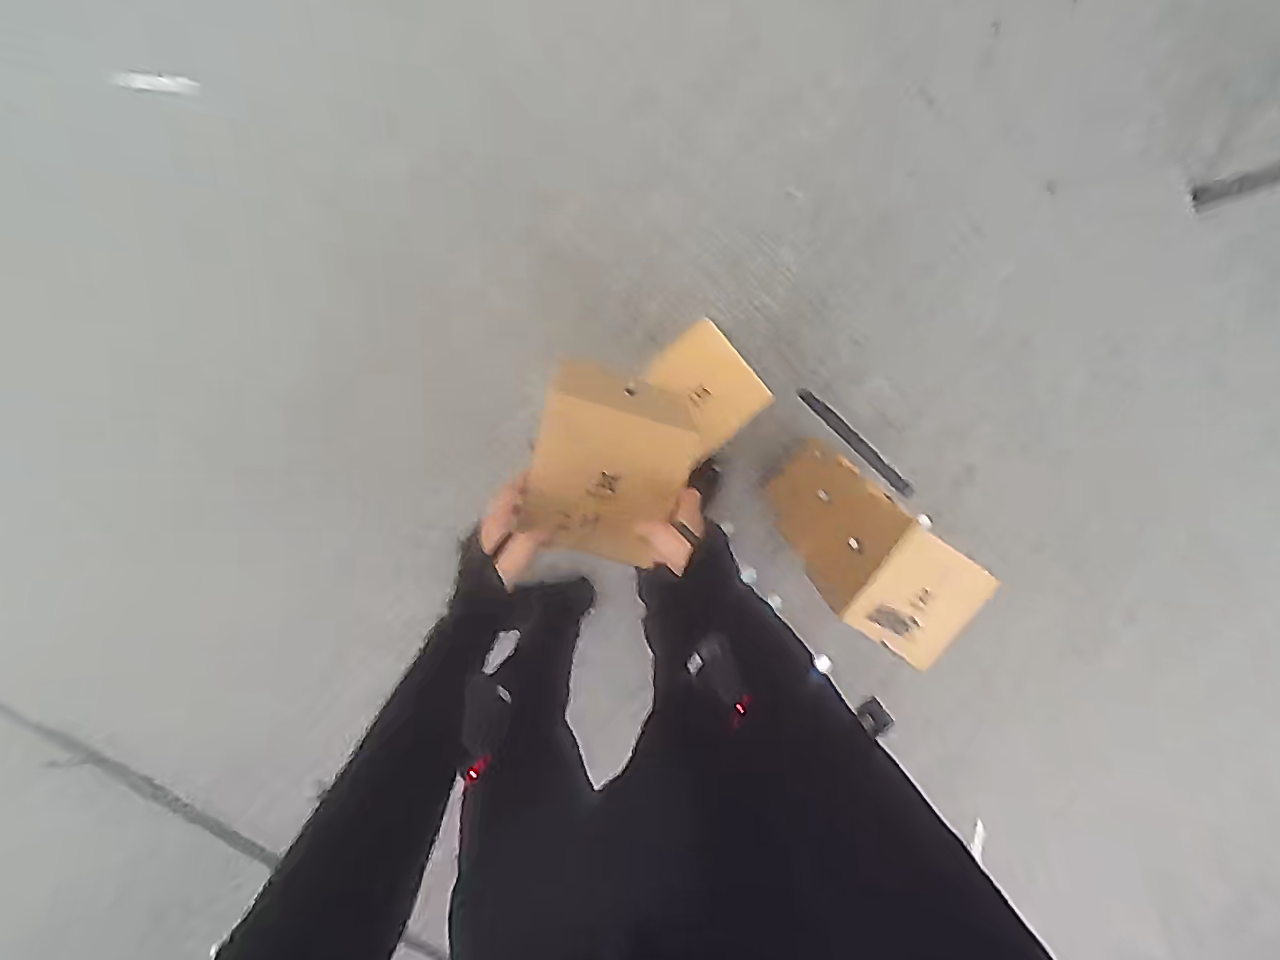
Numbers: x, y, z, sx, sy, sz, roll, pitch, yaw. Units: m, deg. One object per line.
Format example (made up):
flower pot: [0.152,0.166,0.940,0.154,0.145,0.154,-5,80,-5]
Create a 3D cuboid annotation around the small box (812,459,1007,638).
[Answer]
small box: [0.385,0.094,0.815,0.168,0.176,0.179,33,102,-11]
